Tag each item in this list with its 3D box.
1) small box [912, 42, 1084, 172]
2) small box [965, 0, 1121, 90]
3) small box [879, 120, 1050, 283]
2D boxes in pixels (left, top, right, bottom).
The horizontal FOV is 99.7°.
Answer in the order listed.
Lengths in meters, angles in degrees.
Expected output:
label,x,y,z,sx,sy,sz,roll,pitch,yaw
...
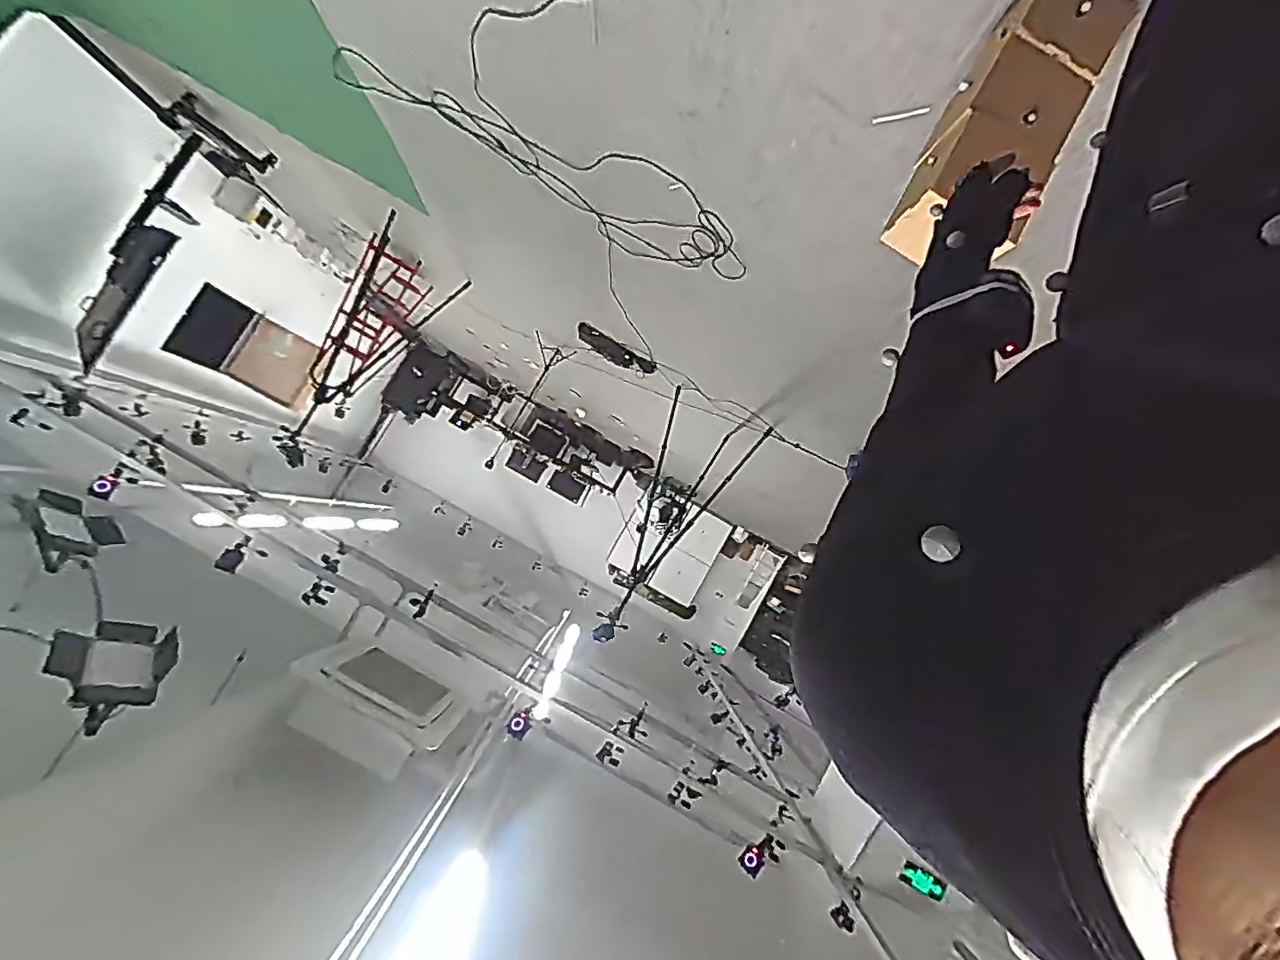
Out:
label,x,y,z,sx,sy,sz,roll,pitch,yaw
small box,0.660,-0.647,1.002,0.179,0.176,0.168,31,174,-3
small box,0.742,-0.789,1.012,0.168,0.176,0.179,30,174,-3
small box,0.587,-0.502,0.986,0.179,0.176,0.168,31,175,-3
